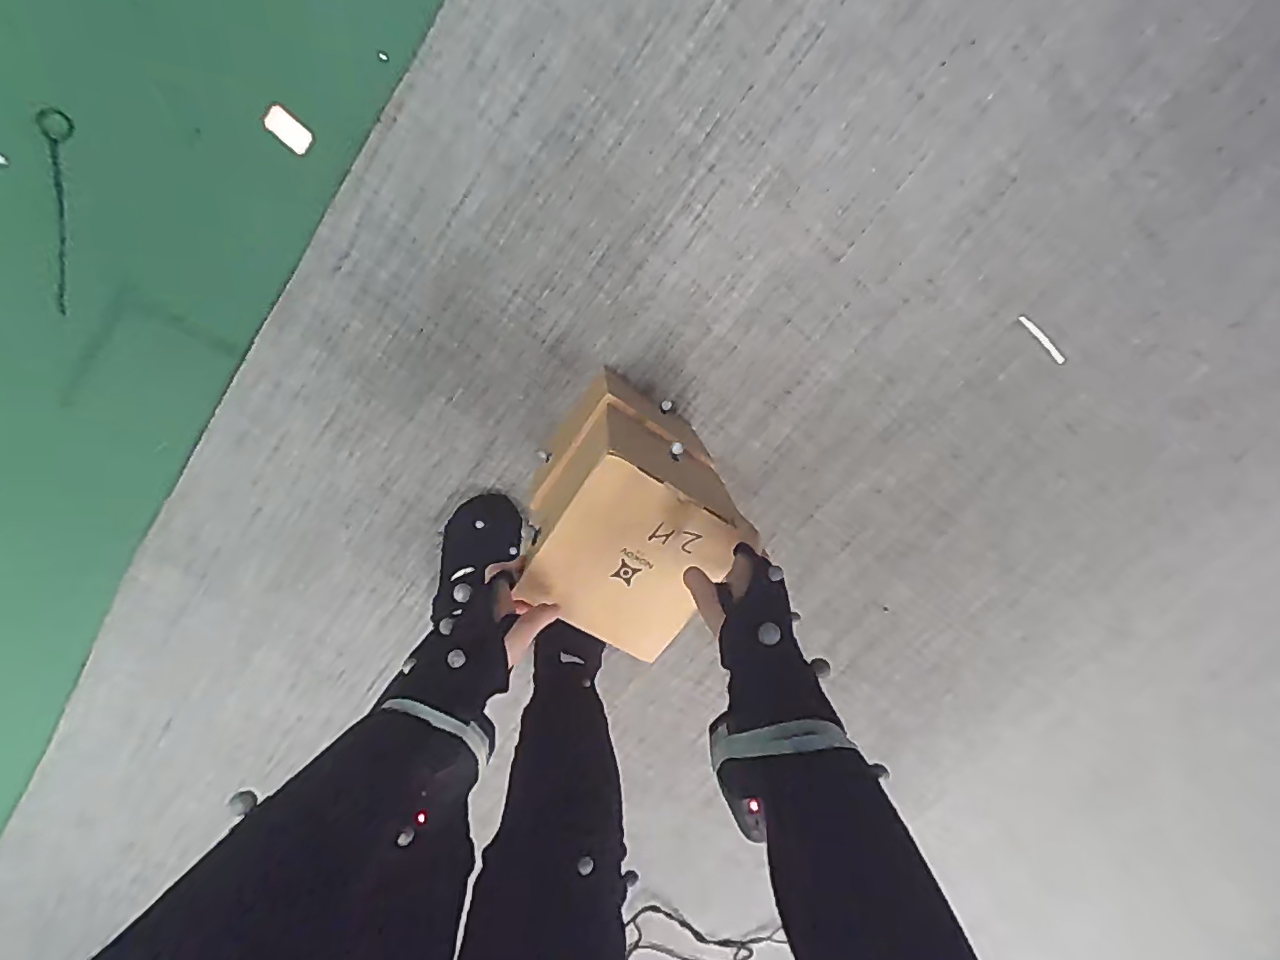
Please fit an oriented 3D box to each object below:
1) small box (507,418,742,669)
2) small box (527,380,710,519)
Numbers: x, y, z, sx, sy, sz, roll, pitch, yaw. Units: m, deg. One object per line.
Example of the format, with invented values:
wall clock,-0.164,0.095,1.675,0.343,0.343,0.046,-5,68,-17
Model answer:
small box,-0.018,0.060,0.591,0.168,0.176,0.179,31,106,-15
small box,-0.031,-0.012,0.742,0.168,0.176,0.179,33,105,-17
